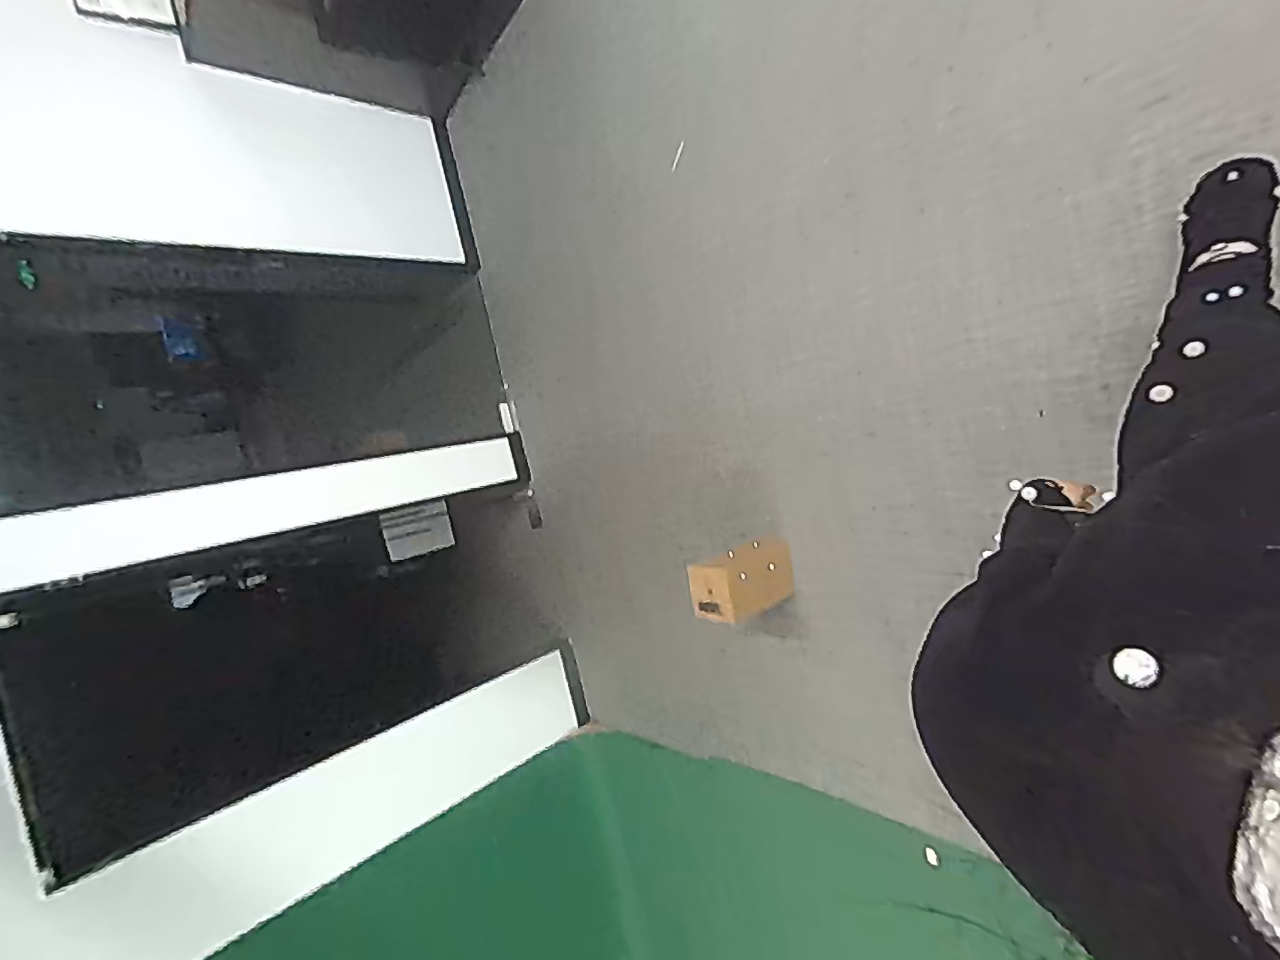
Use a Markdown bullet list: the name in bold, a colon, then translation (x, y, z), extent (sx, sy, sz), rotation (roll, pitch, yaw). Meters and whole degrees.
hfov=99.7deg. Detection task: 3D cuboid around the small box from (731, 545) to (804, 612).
- **small box**: translation (0.434, 0.325, 1.828), extent (0.168, 0.176, 0.179), rotation (-3, 99, 49)
